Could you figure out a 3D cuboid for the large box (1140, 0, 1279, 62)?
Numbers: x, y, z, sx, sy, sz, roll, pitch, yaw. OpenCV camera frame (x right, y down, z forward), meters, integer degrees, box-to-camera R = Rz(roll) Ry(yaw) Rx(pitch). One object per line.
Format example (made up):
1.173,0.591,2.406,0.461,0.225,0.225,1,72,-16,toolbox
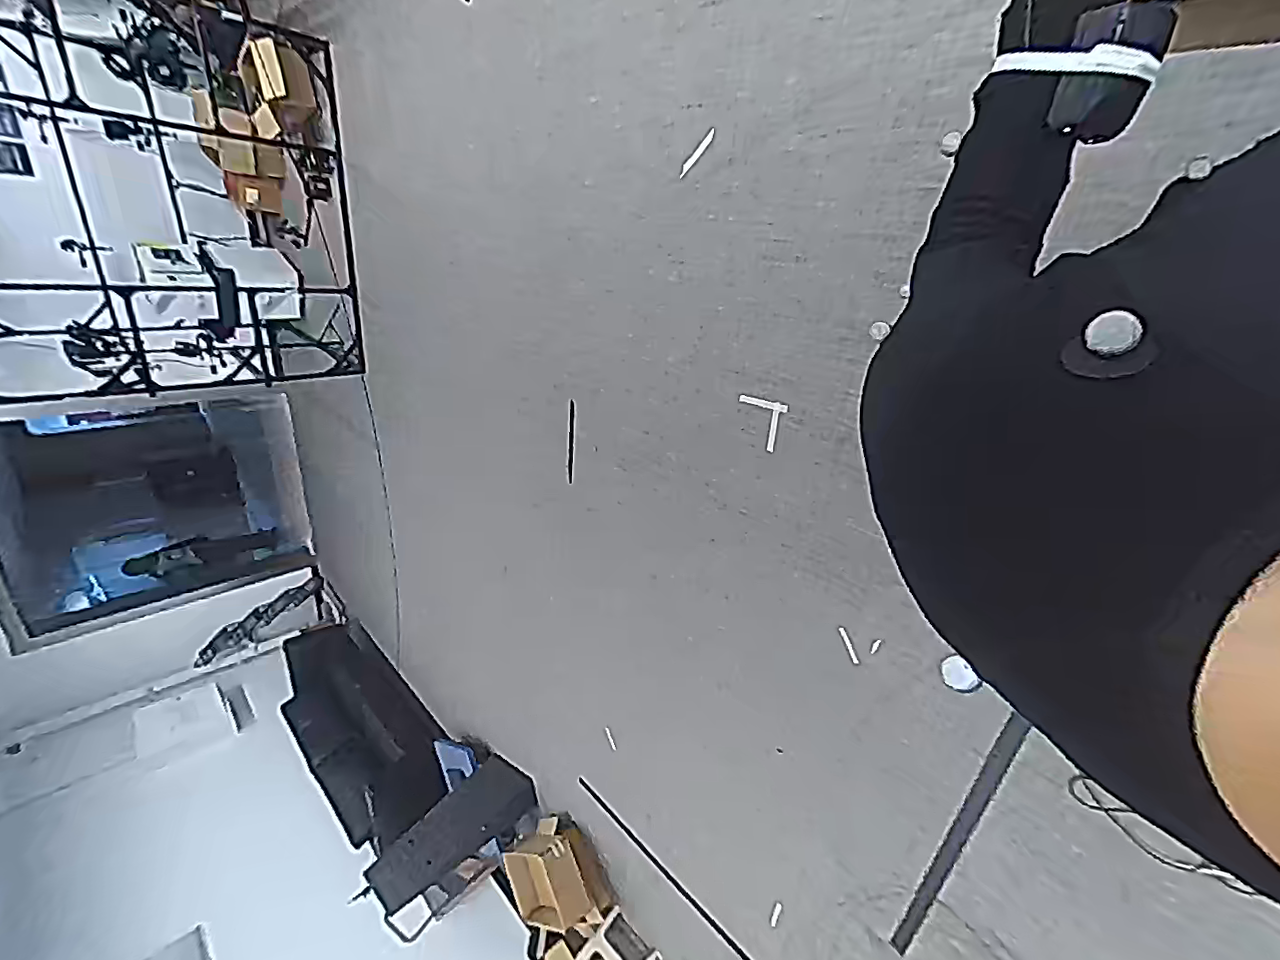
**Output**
0.541,-0.426,0.242,0.408,0.320,0.320,20,128,35,large box
